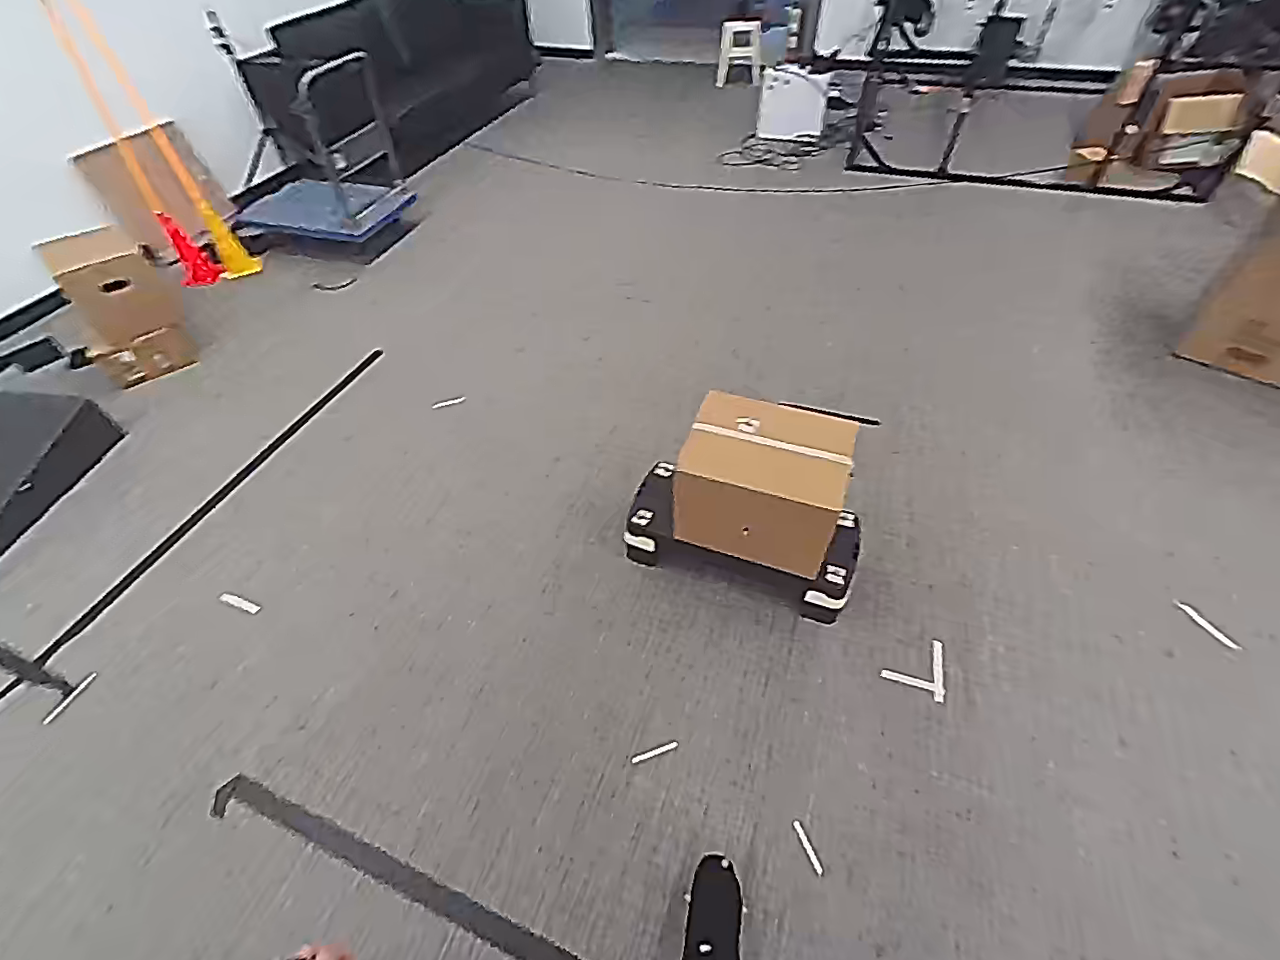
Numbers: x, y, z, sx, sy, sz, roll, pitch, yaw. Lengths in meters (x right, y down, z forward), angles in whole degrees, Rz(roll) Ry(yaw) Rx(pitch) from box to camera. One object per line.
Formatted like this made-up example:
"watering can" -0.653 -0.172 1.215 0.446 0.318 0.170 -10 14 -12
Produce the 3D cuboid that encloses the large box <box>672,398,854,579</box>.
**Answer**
"large box" 0.326 0.023 1.467 0.408 0.320 0.320 14 51 16

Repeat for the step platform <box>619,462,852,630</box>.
"step platform" 0.281 0.178 1.652 0.684 0.204 0.286 19 53 20
